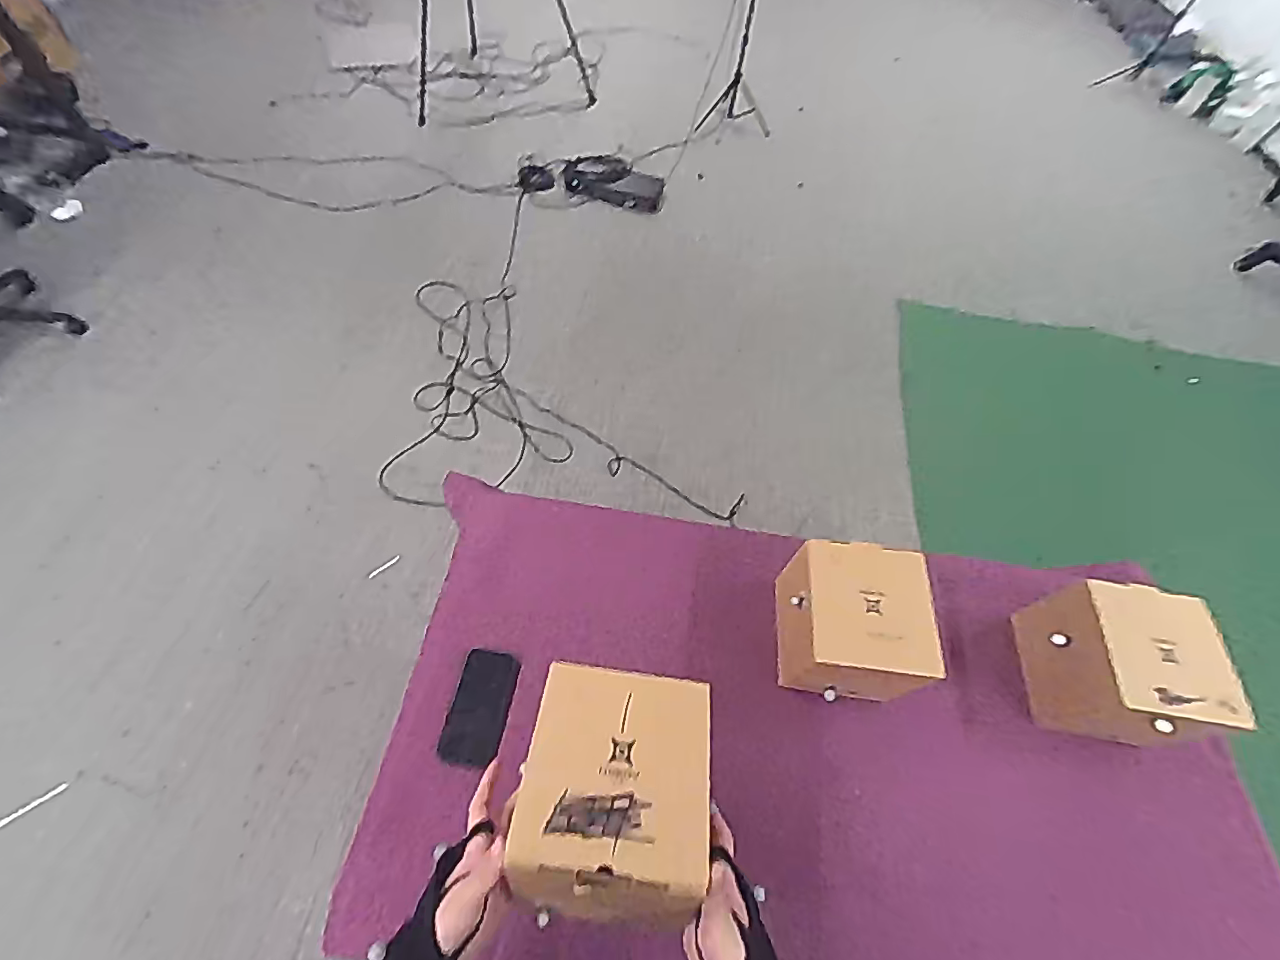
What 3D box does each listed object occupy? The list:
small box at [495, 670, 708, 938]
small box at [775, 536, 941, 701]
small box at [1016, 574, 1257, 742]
[{"bbox_3d":[-0.027,0.316,0.528,0.168,0.176,0.179,7,41,2],"label":"small box"},{"bbox_3d":[0.298,0.204,0.784,0.168,0.176,0.179,7,58,1],"label":"small box"},{"bbox_3d":[0.684,0.259,0.777,0.168,0.176,0.179,9,57,2],"label":"small box"}]
